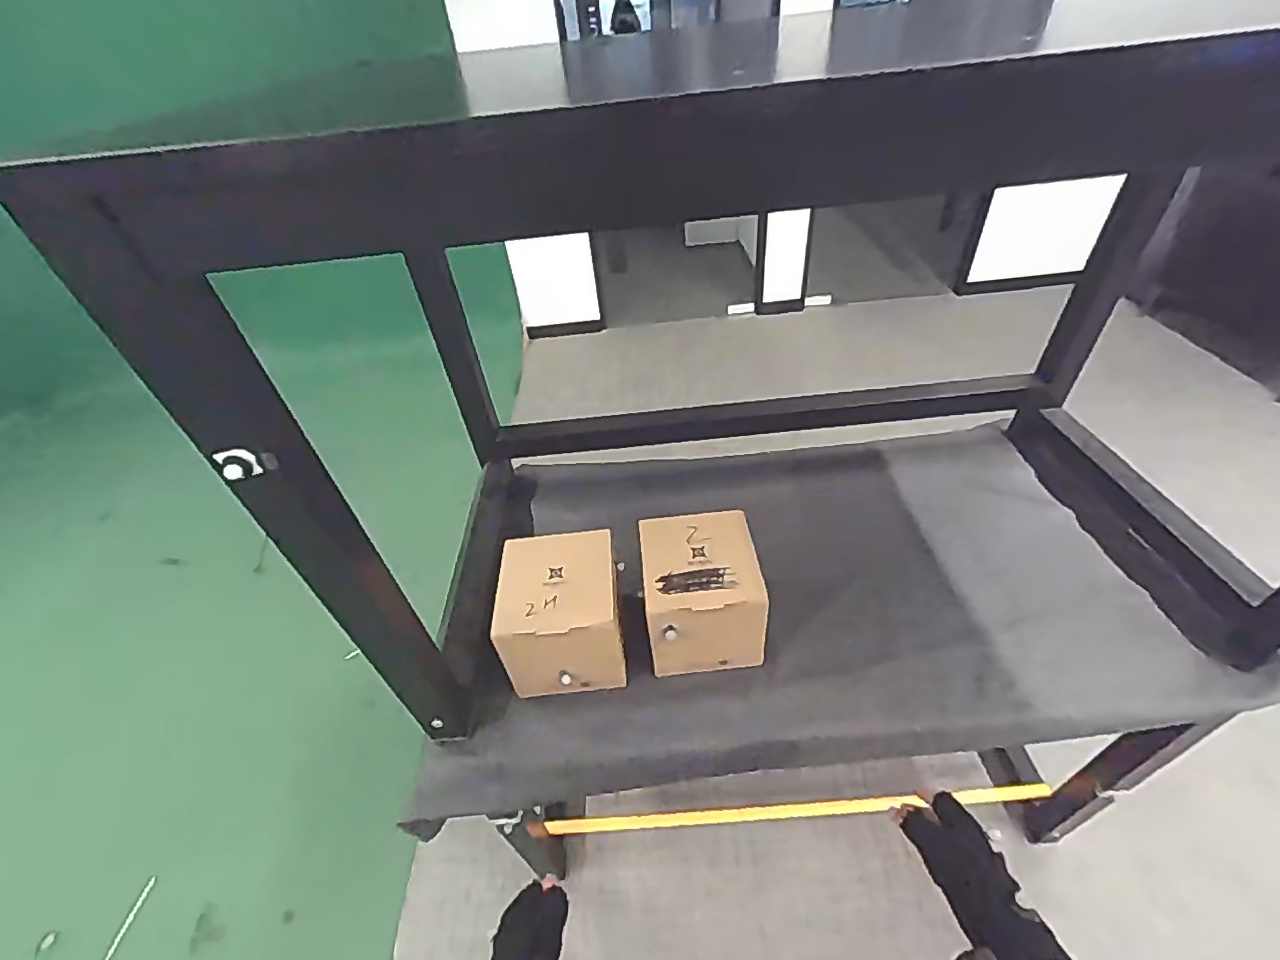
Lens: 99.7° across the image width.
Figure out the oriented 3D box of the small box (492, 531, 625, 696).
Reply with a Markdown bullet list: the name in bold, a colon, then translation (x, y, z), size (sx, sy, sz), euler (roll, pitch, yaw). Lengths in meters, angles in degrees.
- **small box**: translation (-0.114, 0.202, 0.825), size (0.168, 0.176, 0.179), euler (-6, 41, 0)
